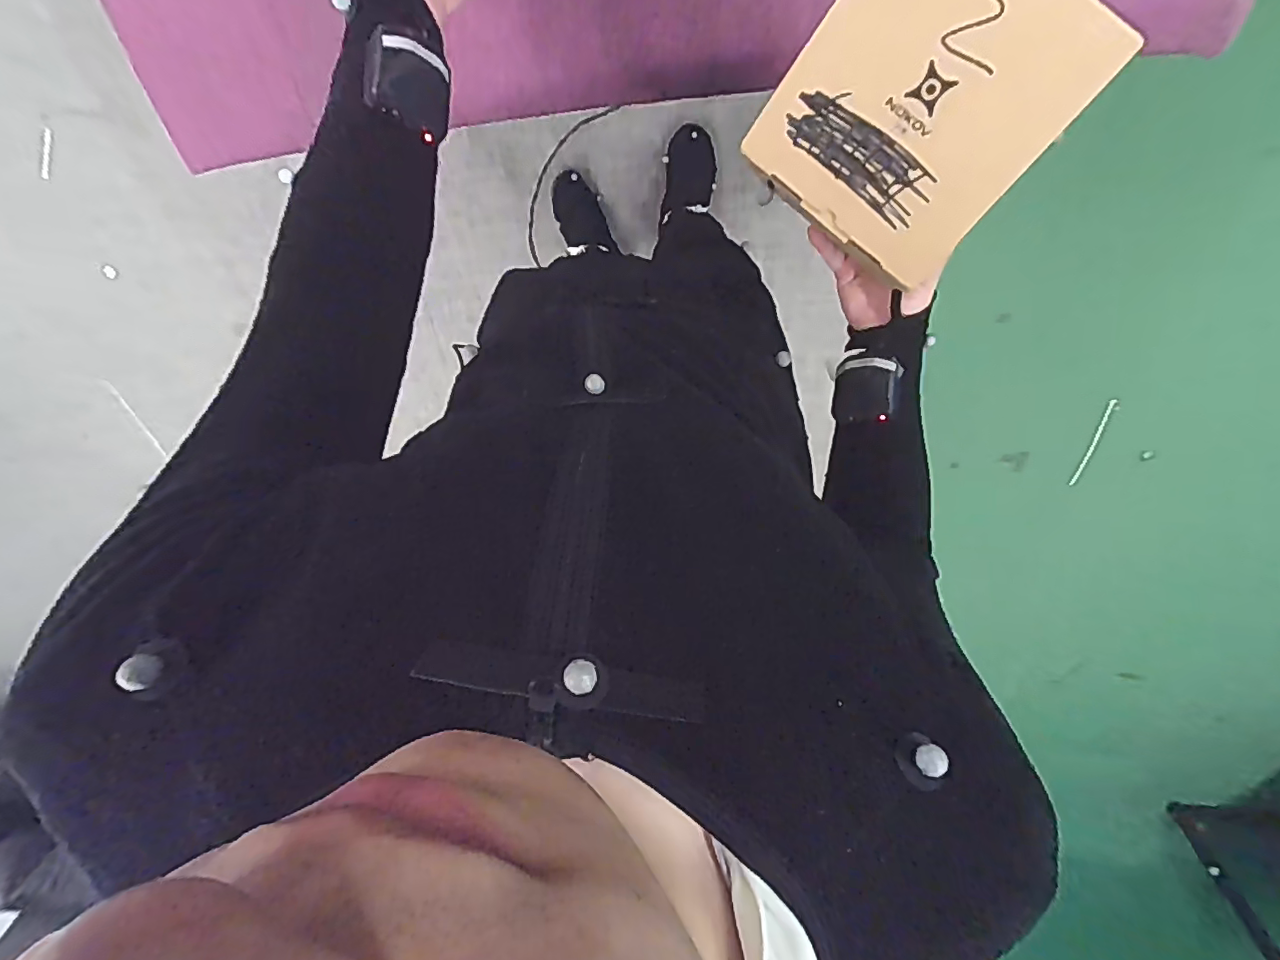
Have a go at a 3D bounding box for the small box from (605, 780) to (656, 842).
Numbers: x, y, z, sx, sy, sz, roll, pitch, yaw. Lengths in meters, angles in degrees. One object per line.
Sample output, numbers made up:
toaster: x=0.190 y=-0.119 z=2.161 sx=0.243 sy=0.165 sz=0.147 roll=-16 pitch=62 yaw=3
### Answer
small box: x=-0.030 y=1.235 z=1.986 sx=0.168 sy=0.176 sz=0.179 roll=0 pitch=125 yaw=6

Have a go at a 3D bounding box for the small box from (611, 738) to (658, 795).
small box: x=-0.018 y=1.142 z=2.119 sx=0.168 sy=0.176 sz=0.179 roll=0 pitch=125 yaw=5
